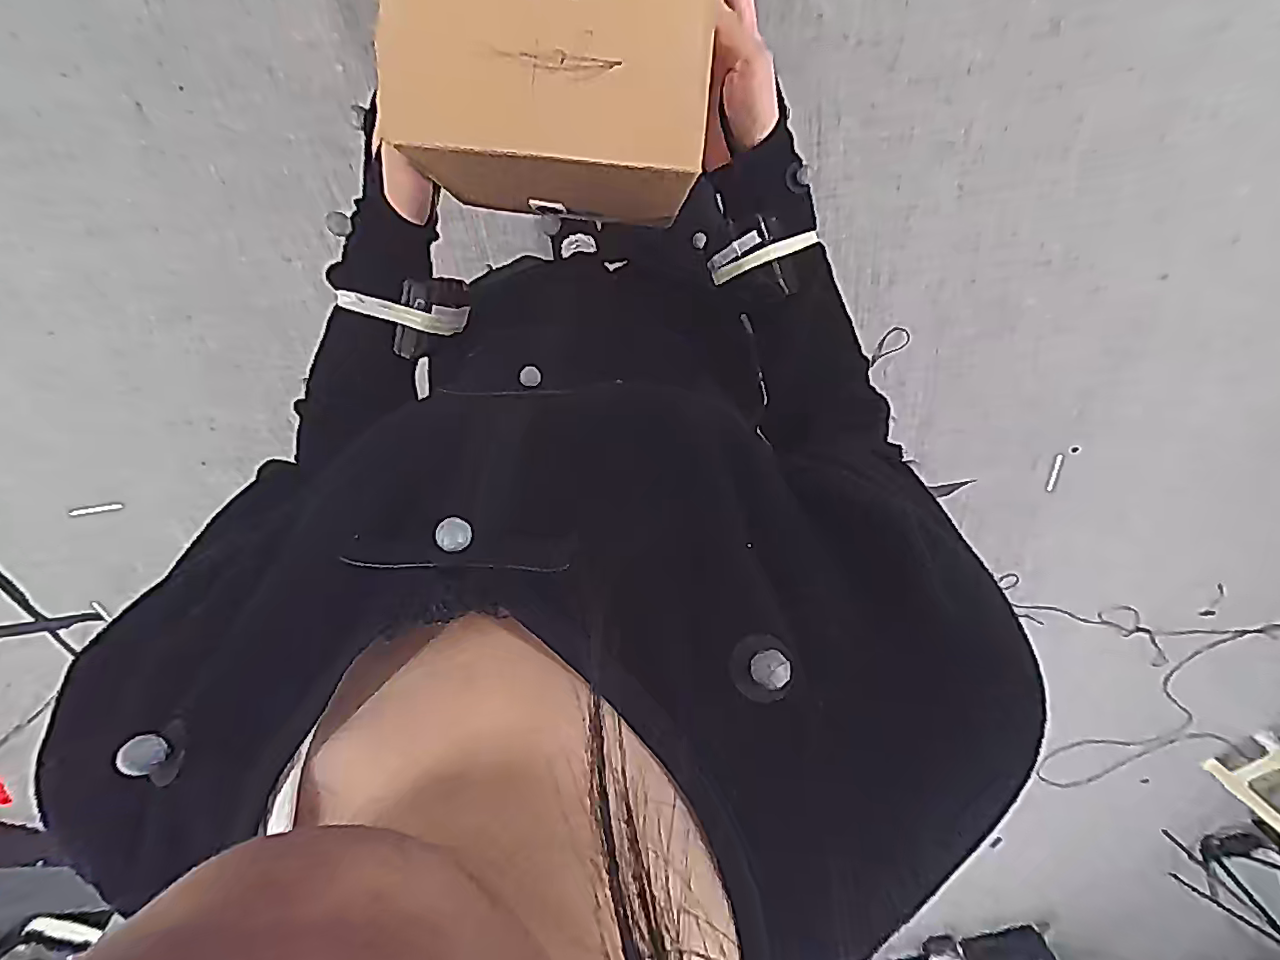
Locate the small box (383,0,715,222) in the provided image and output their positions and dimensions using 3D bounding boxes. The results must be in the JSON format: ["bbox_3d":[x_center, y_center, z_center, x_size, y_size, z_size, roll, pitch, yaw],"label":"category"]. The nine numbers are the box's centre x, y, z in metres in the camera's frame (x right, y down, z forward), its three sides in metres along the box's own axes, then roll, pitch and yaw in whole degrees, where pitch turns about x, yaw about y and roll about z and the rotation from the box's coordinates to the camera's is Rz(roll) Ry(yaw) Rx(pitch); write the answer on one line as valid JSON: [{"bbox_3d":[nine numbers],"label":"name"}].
[{"bbox_3d":[-0.047,-0.278,0.340,0.168,0.176,0.179,3,106,-3],"label":"small box"}]
